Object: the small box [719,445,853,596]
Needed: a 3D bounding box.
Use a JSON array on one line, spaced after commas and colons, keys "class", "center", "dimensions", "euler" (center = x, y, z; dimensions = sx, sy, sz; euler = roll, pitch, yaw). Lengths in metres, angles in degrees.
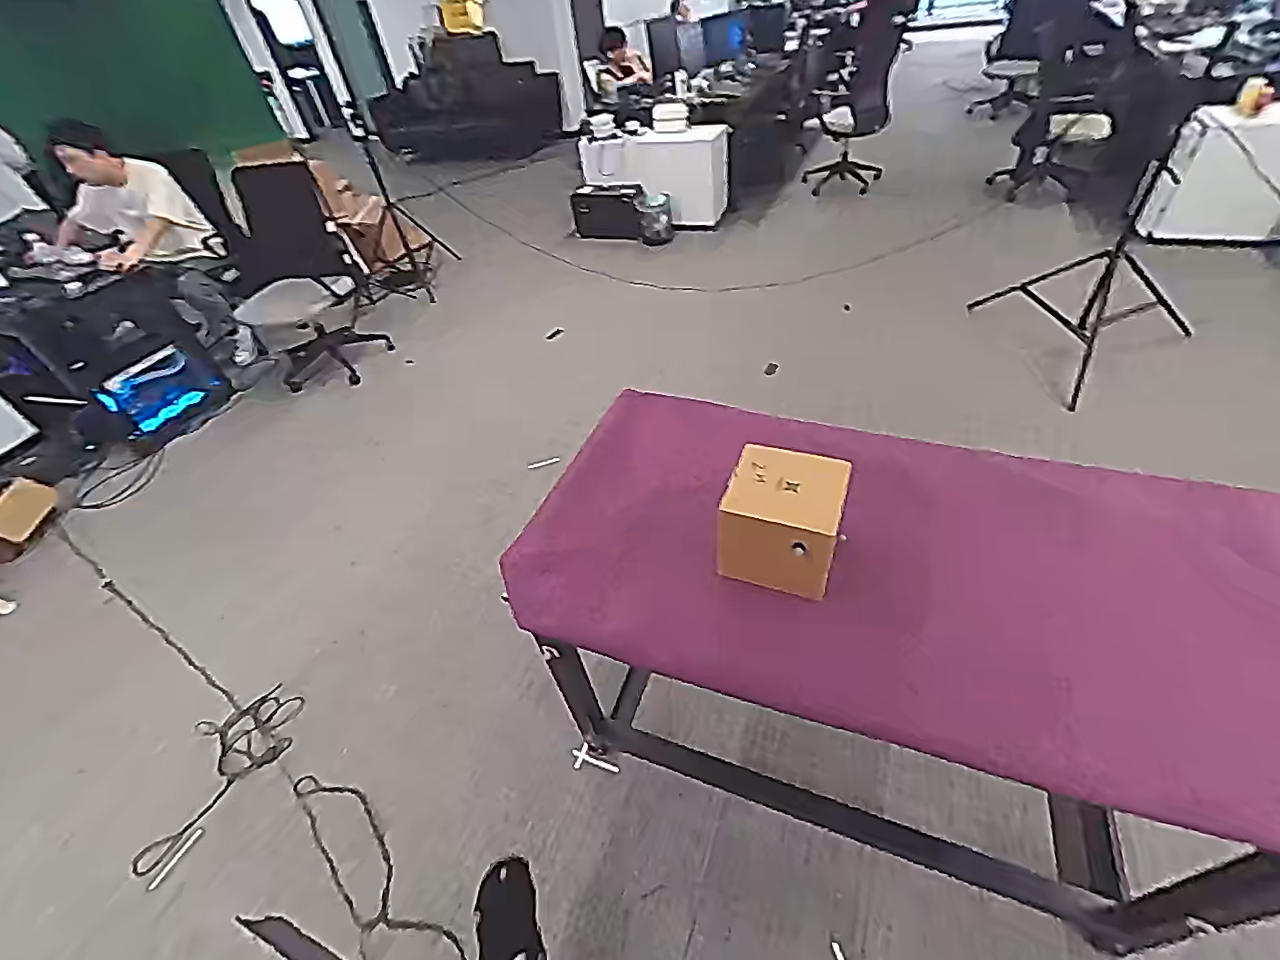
[{"class": "small box", "center": [0.240, 0.069, 0.901], "dimensions": [0.179, 0.176, 0.168], "euler": [12, 47, 21]}]
